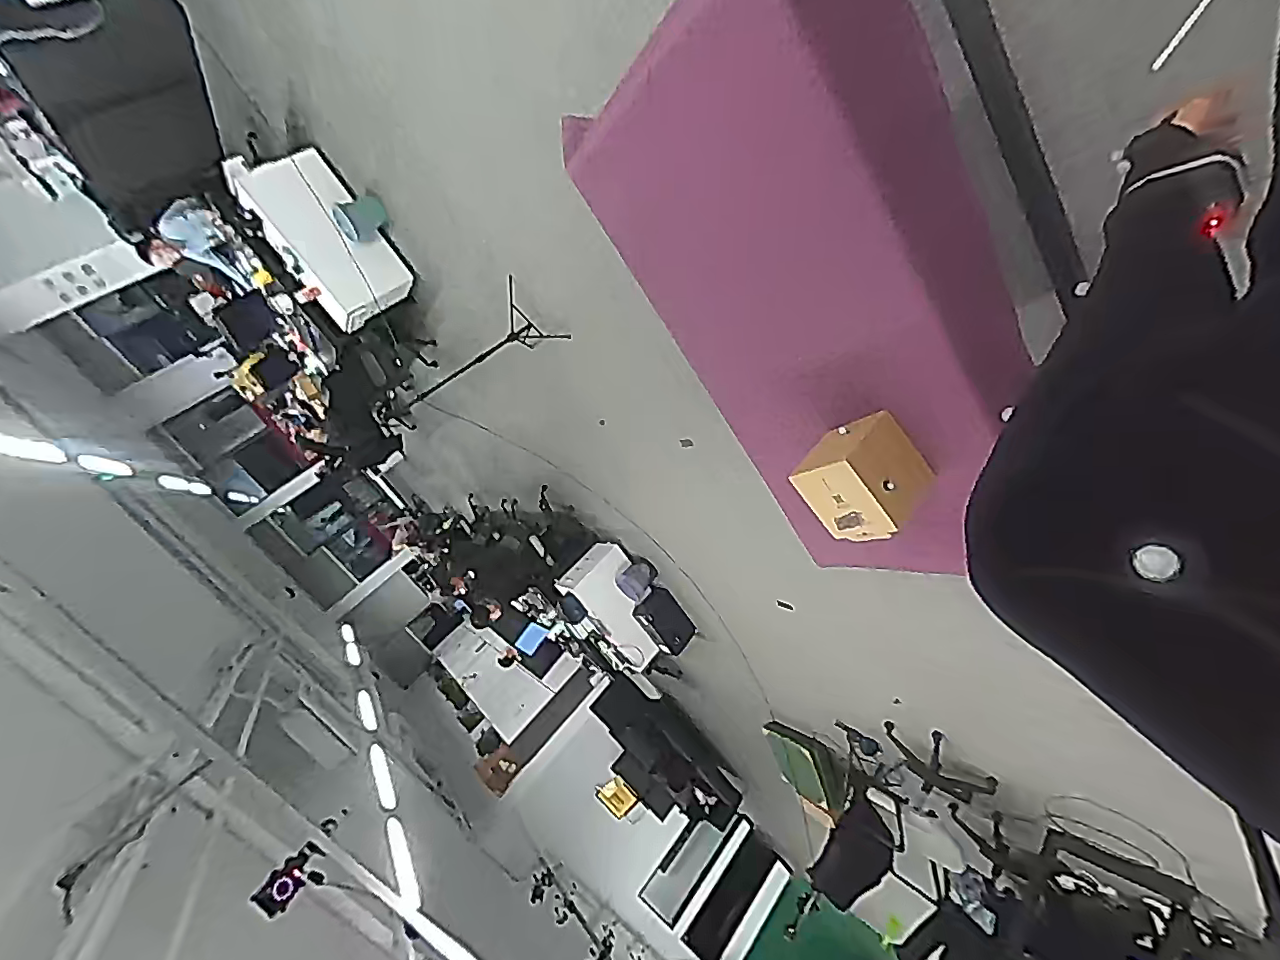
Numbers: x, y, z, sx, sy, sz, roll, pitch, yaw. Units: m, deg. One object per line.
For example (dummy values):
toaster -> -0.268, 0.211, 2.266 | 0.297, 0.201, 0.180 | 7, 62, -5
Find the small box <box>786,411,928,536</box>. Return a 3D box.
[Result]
small box -> 0.444, -0.010, 1.103 | 0.179, 0.176, 0.168 | 50, 154, -7
